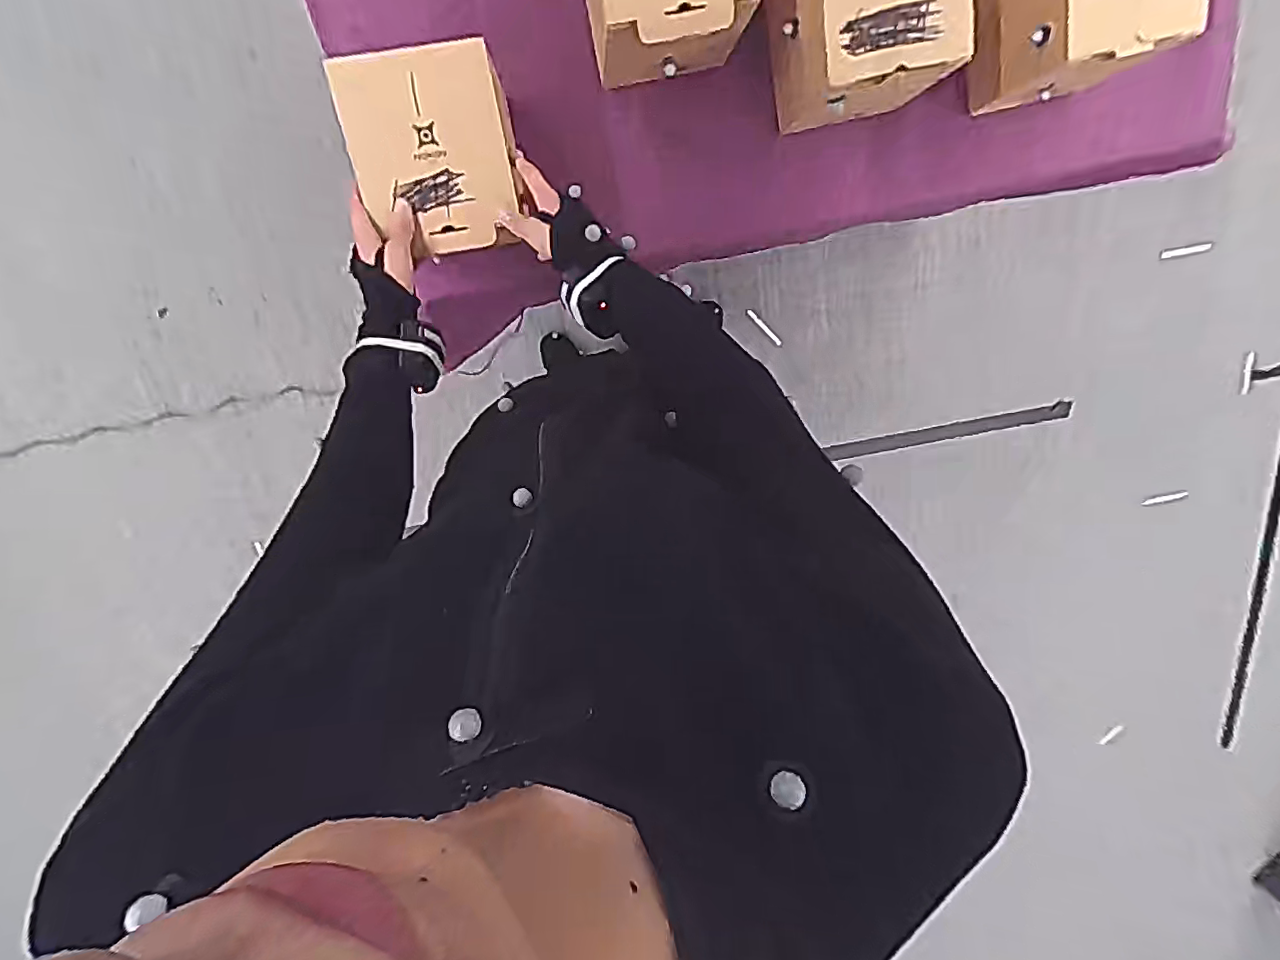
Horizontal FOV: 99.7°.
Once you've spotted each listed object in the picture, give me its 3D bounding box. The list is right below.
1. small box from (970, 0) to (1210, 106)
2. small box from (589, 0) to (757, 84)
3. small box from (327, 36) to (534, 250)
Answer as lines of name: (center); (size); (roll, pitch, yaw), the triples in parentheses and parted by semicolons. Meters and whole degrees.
small box: (0.530, -0.594, 0.654); (0.168, 0.176, 0.179); (-14, 108, -1)
small box: (0.023, -0.589, 0.606); (0.168, 0.176, 0.179); (-12, 109, -1)
small box: (-0.230, -0.382, 0.648); (0.168, 0.176, 0.179); (-11, 108, -3)
